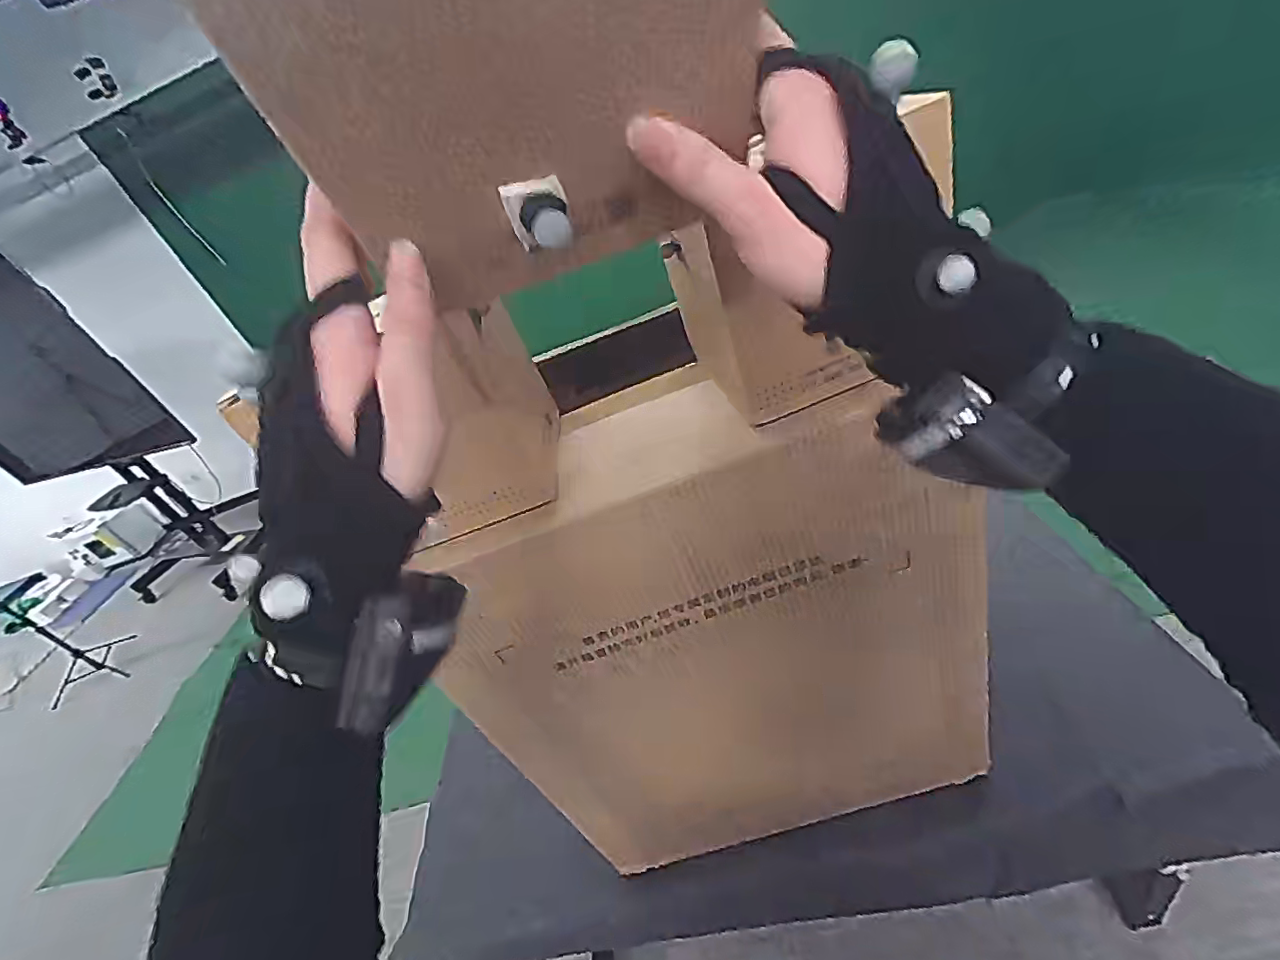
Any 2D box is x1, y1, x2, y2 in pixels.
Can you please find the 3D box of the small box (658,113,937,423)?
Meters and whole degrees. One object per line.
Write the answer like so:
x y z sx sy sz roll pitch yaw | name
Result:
0.115 -0.173 0.446 0.168 0.176 0.179 -22 34 2 | small box

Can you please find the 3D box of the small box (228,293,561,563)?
-0.188 -0.056 0.475 0.179 0.176 0.168 -22 34 7 | small box

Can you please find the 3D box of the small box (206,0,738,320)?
-0.069 -0.205 0.228 0.168 0.176 0.179 -23 66 -2 | small box
